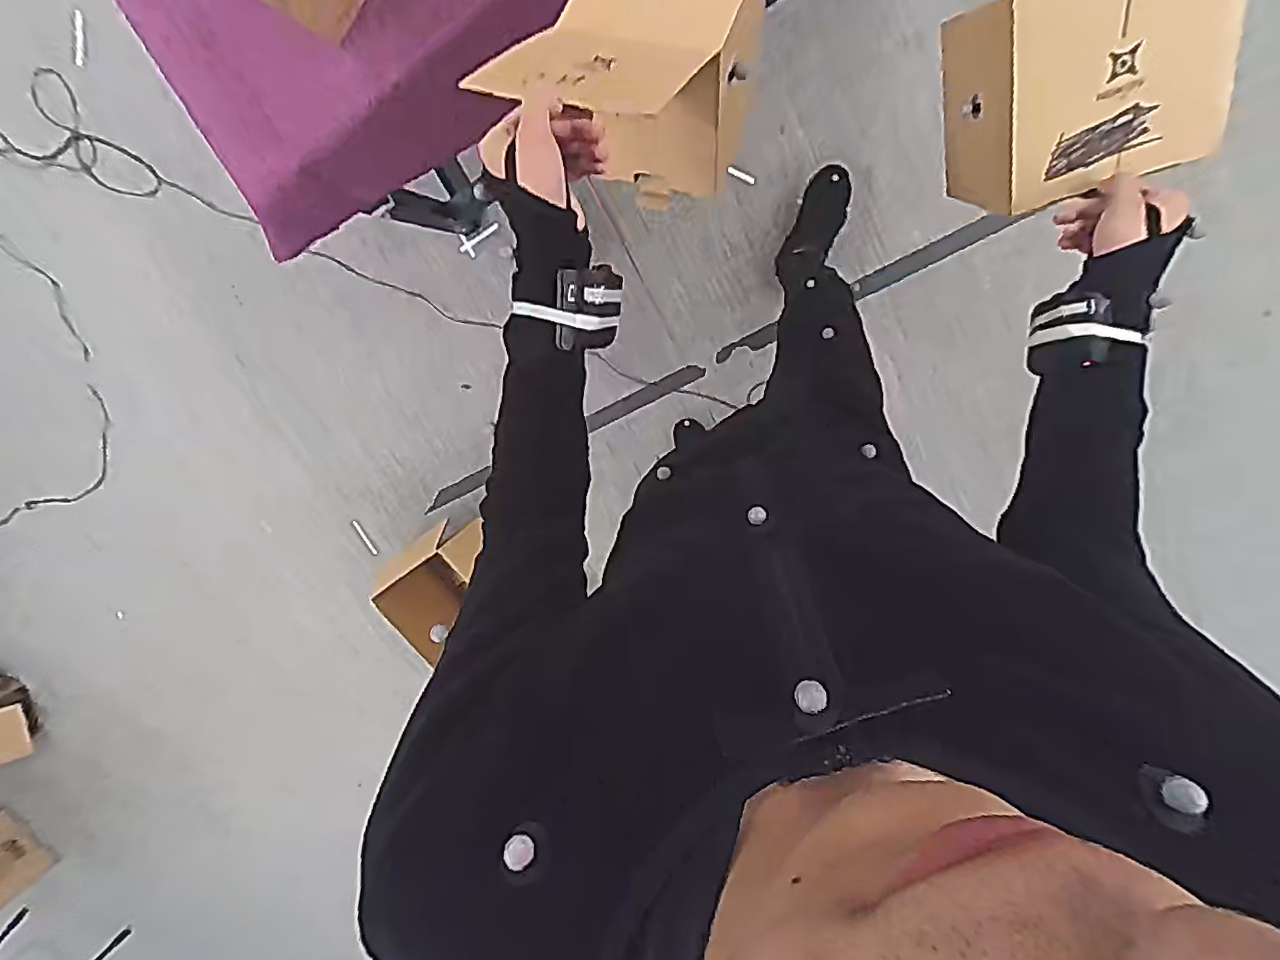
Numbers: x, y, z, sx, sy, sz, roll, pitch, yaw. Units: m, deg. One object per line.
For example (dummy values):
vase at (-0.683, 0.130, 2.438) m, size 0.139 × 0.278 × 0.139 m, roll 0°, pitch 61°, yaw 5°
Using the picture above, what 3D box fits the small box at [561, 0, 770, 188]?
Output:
small box at (0.036, -0.462, 0.584) m, size 0.168 × 0.179 × 0.176 m, roll 18°, pitch 76°, yaw 12°

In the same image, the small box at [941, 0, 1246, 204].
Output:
small box at (0.404, -0.390, 0.512) m, size 0.168 × 0.176 × 0.179 m, roll -14°, pitch 120°, yaw 15°
